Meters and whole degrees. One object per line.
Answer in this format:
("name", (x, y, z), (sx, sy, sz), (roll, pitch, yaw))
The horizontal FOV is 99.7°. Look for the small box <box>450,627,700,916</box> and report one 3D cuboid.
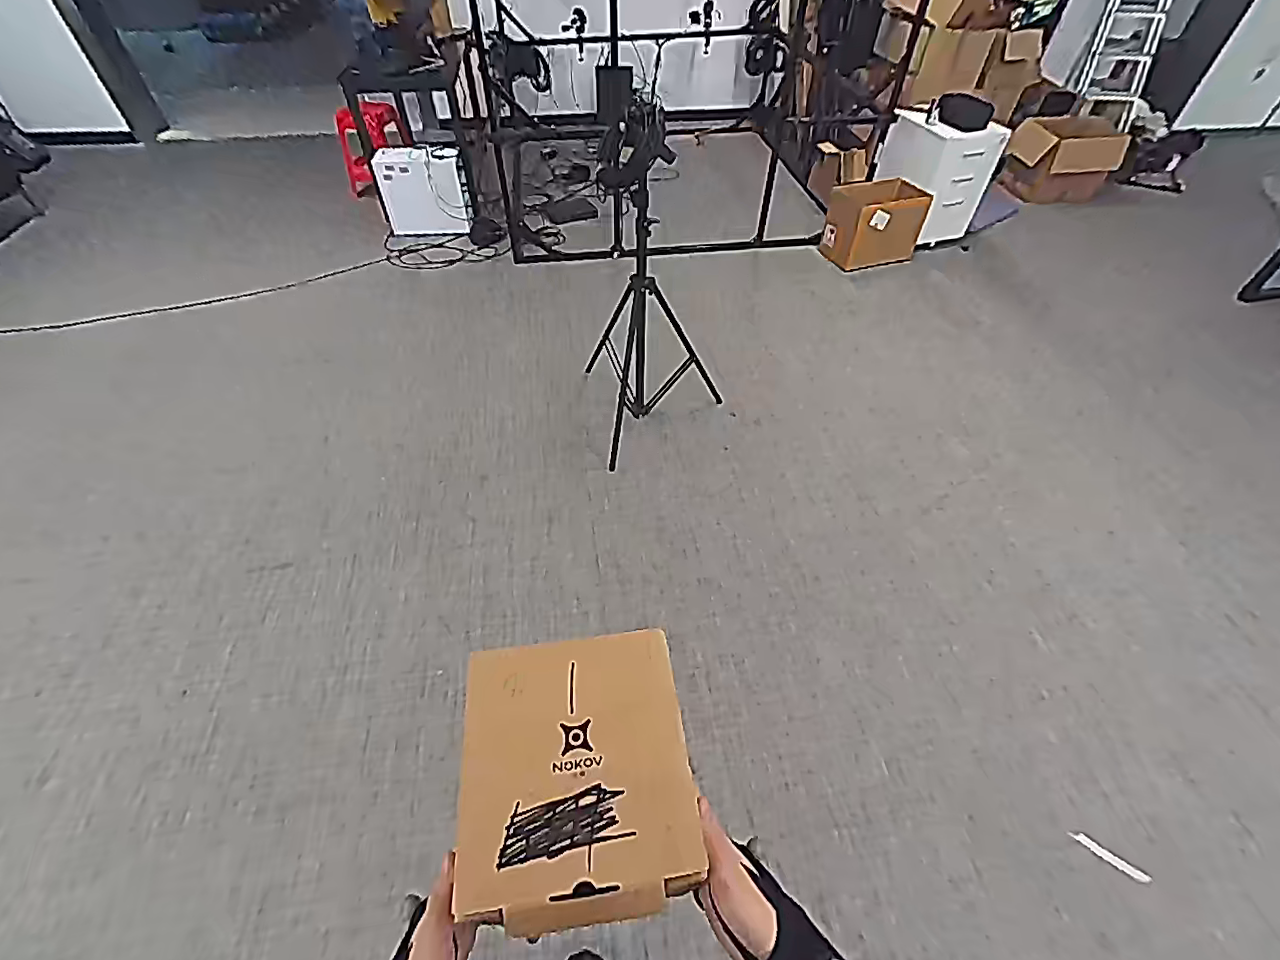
("small box", (-0.050, 0.250, 0.460), (0.168, 0.176, 0.179), (-6, 49, -6))
